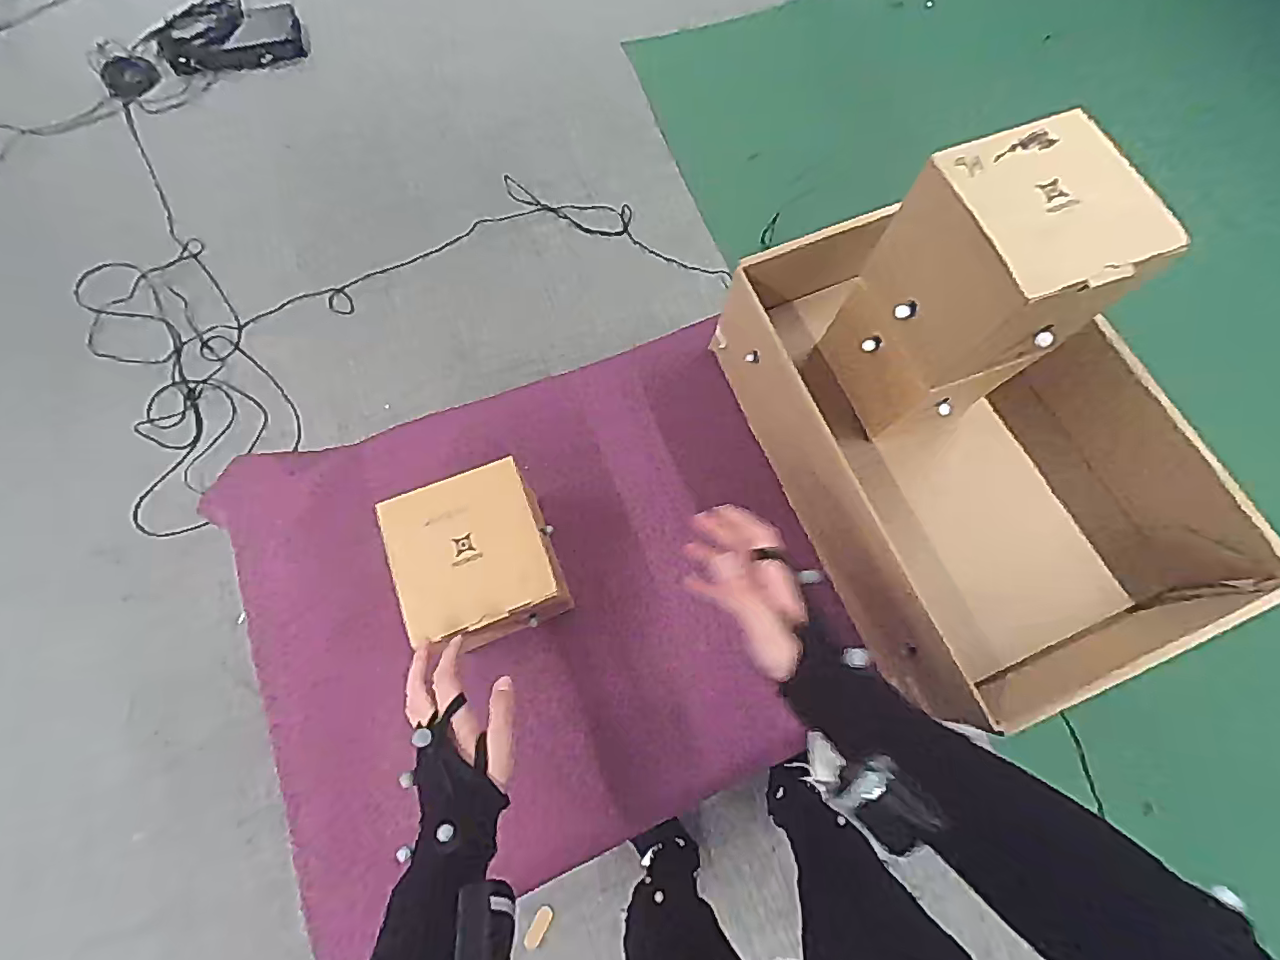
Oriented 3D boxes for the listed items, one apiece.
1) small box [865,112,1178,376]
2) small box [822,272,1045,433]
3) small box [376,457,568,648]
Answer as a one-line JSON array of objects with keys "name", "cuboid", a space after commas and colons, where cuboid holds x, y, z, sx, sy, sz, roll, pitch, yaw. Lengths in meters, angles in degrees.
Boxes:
[{"name": "small box", "cuboid": [0.372, -0.229, 0.568, 0.168, 0.176, 0.179, -19, 75, -5]}, {"name": "small box", "cuboid": [0.372, -0.179, 0.724, 0.168, 0.176, 0.179, -19, 74, -5]}, {"name": "small box", "cuboid": [-0.199, 0.099, 0.683, 0.168, 0.176, 0.179, -20, 73, -8]}]
